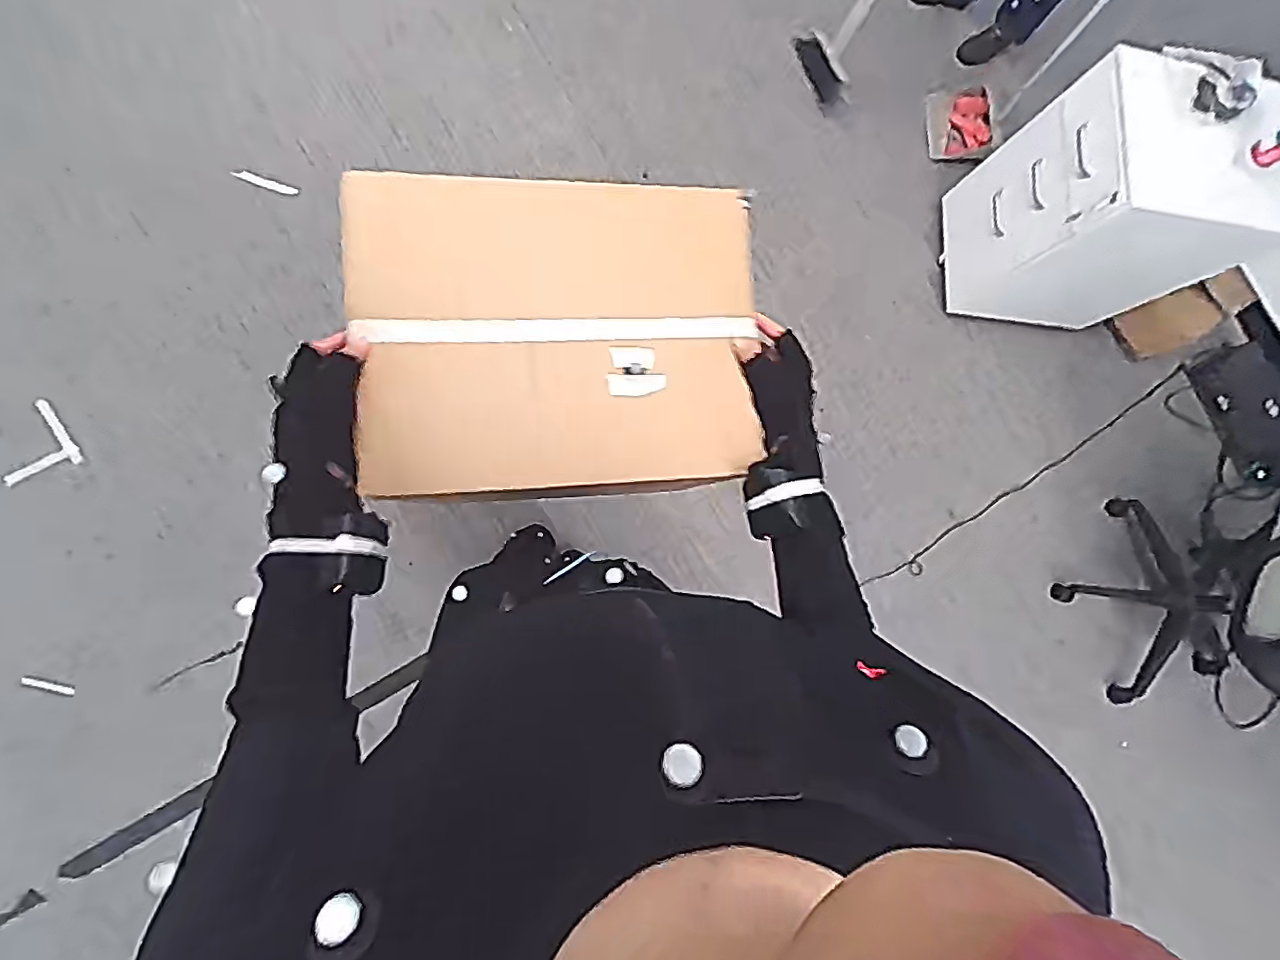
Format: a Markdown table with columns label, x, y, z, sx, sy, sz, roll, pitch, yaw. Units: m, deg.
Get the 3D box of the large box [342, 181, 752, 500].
| label | x | y | z | sx | sy | sz | roll | pitch | yaw |
| --- | --- | --- | --- | --- | --- | --- | --- | --- | --- |
| large box | -0.114 | -0.150 | 0.706 | 0.408 | 0.320 | 0.320 | -5 | 88 | -12 |
